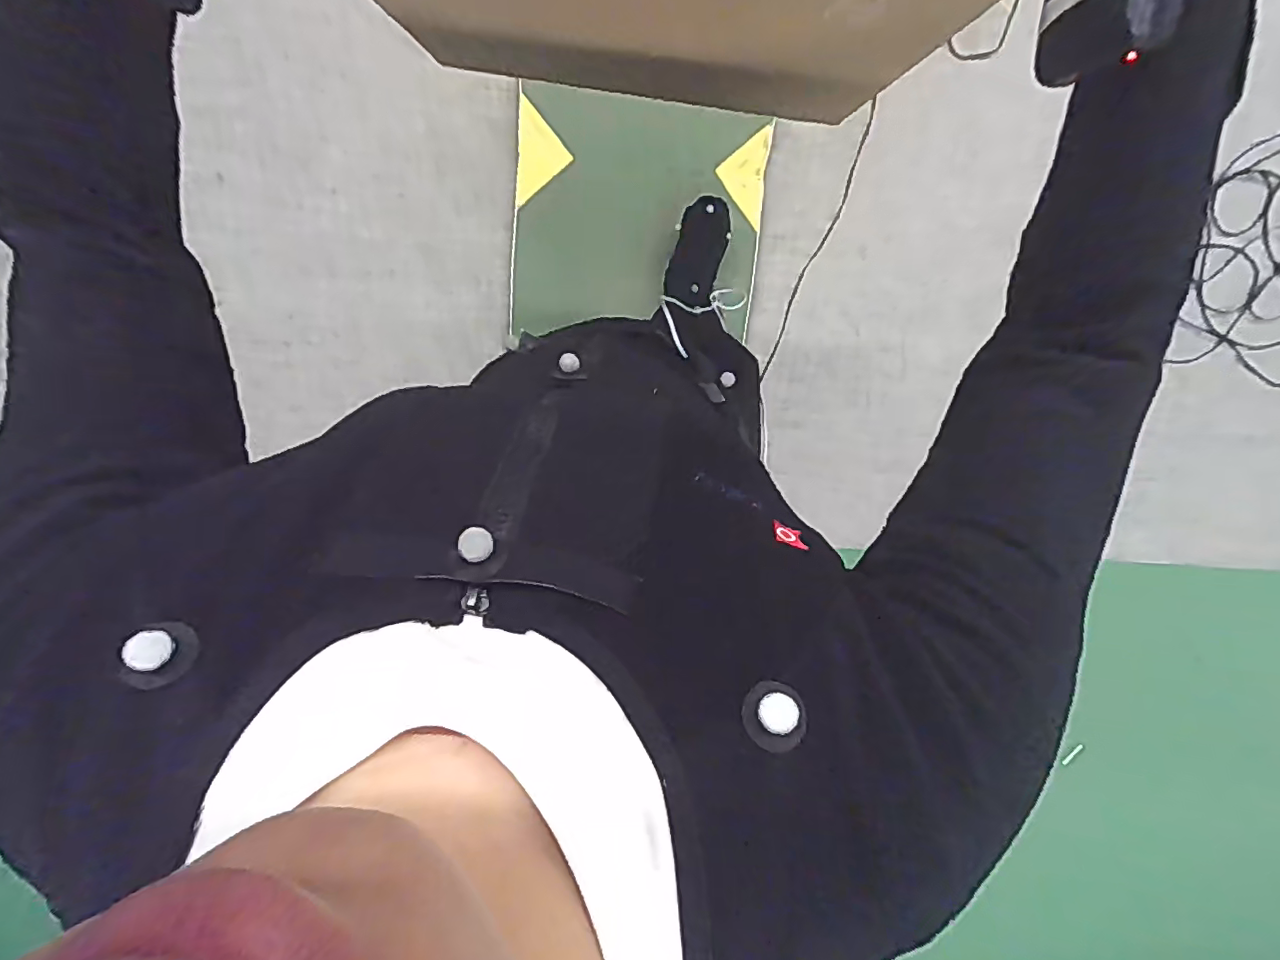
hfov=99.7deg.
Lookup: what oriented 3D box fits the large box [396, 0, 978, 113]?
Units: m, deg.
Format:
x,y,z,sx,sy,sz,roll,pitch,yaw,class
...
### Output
x,y,z,sx,sy,sz,roll,pitch,yaw,class
0.024,-0.476,0.346,0.408,0.320,0.320,6,112,-3,large box
